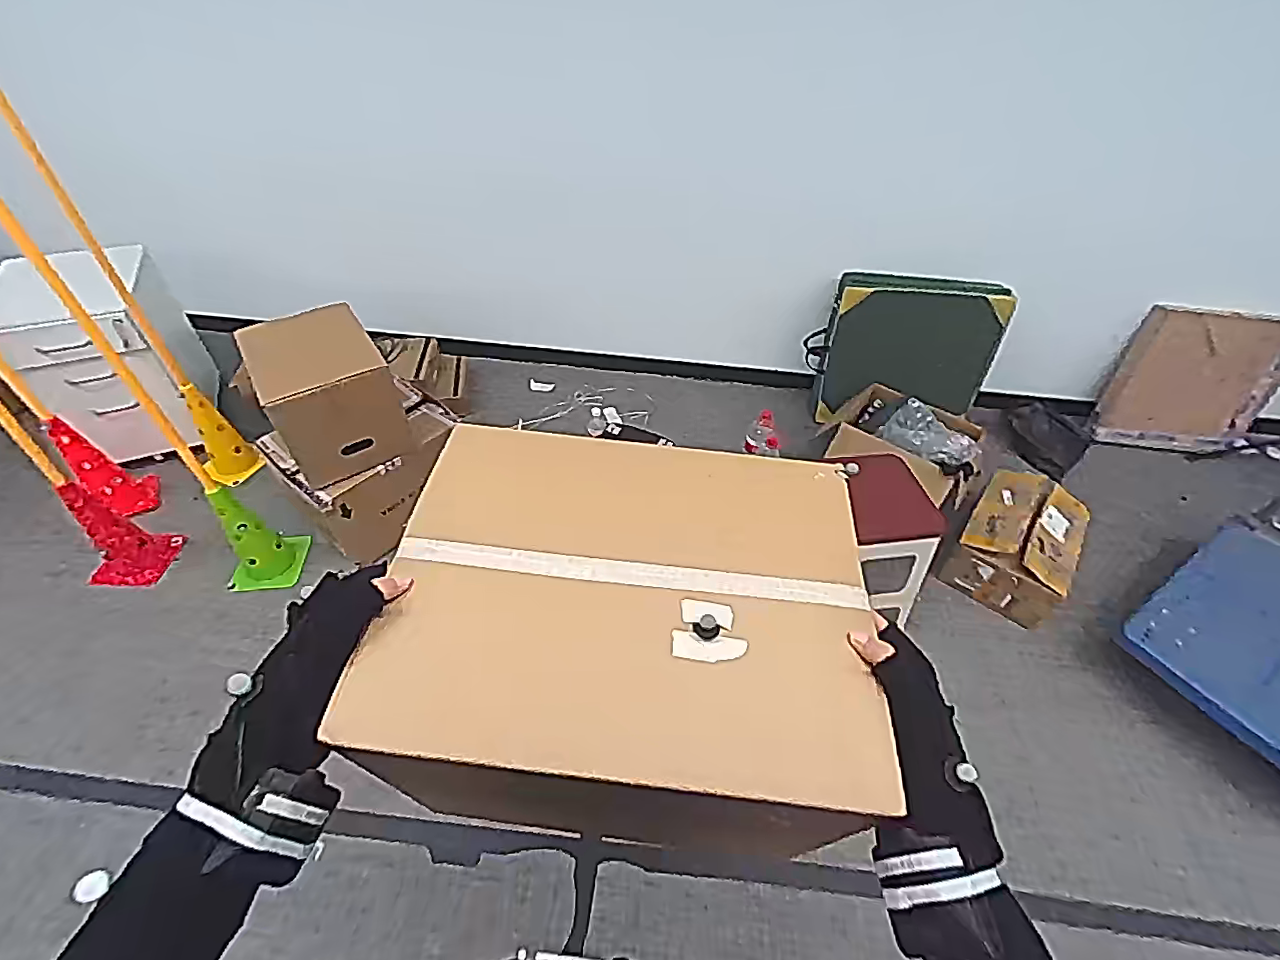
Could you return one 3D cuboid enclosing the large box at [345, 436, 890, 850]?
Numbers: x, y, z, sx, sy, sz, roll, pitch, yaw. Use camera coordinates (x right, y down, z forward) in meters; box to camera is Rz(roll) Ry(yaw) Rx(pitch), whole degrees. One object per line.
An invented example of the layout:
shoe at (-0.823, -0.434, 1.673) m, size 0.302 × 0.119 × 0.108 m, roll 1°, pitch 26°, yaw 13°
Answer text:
large box at (-0.014, 0.183, 0.593) m, size 0.408 × 0.320 × 0.320 m, roll 7°, pitch 50°, yaw 2°
